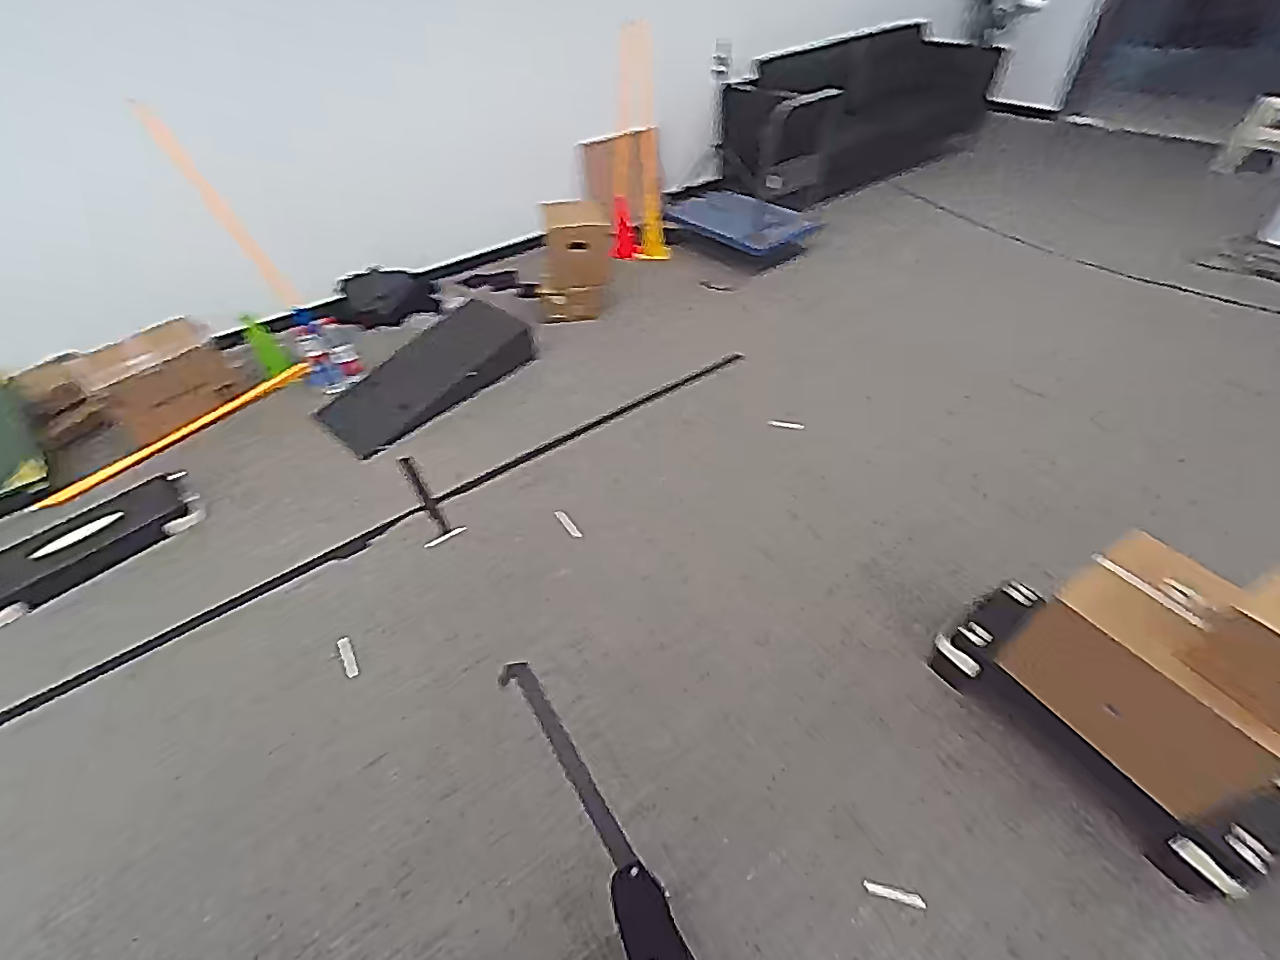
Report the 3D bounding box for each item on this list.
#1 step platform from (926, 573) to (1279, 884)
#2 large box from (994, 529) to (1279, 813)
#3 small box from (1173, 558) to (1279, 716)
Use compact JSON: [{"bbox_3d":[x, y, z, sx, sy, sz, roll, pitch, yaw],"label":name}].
[{"bbox_3d":[1.075,0.549,1.317,0.286,0.204,0.684,-24,47,-18],"label":"step platform"},{"bbox_3d":[1.079,0.387,1.141,0.320,0.320,0.408,-26,47,-20],"label":"large box"},{"bbox_3d":[1.082,0.270,0.909,0.168,0.176,0.179,-24,47,-17],"label":"small box"}]
